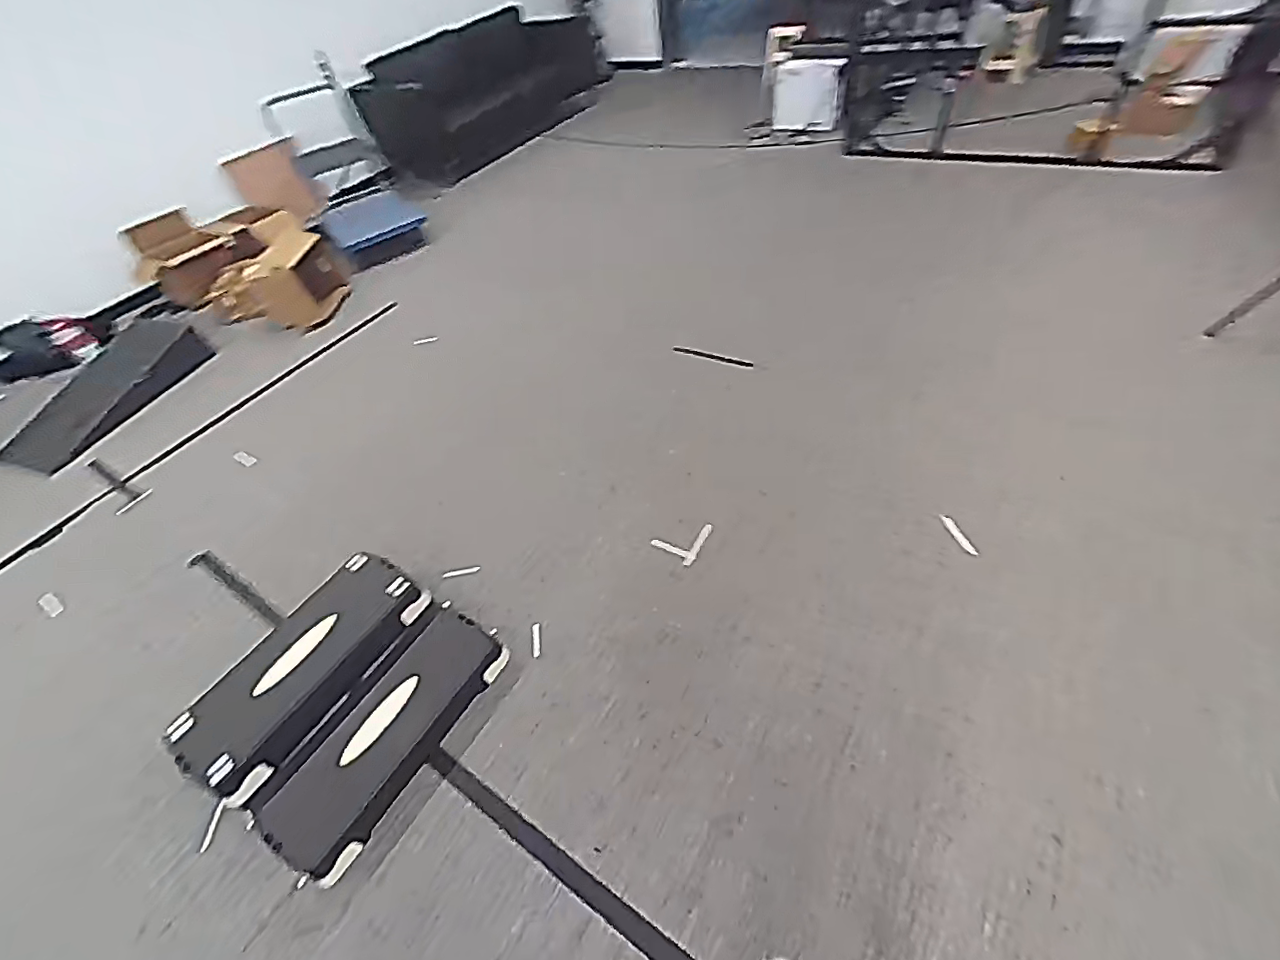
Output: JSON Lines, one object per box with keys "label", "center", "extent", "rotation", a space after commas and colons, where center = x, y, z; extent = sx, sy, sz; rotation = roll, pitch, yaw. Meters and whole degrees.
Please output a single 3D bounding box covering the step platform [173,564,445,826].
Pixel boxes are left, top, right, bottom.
{"label": "step platform", "center": [-0.898, 0.566, 1.528], "extent": [0.286, 0.204, 0.684], "rotation": [20, 53, 26]}
